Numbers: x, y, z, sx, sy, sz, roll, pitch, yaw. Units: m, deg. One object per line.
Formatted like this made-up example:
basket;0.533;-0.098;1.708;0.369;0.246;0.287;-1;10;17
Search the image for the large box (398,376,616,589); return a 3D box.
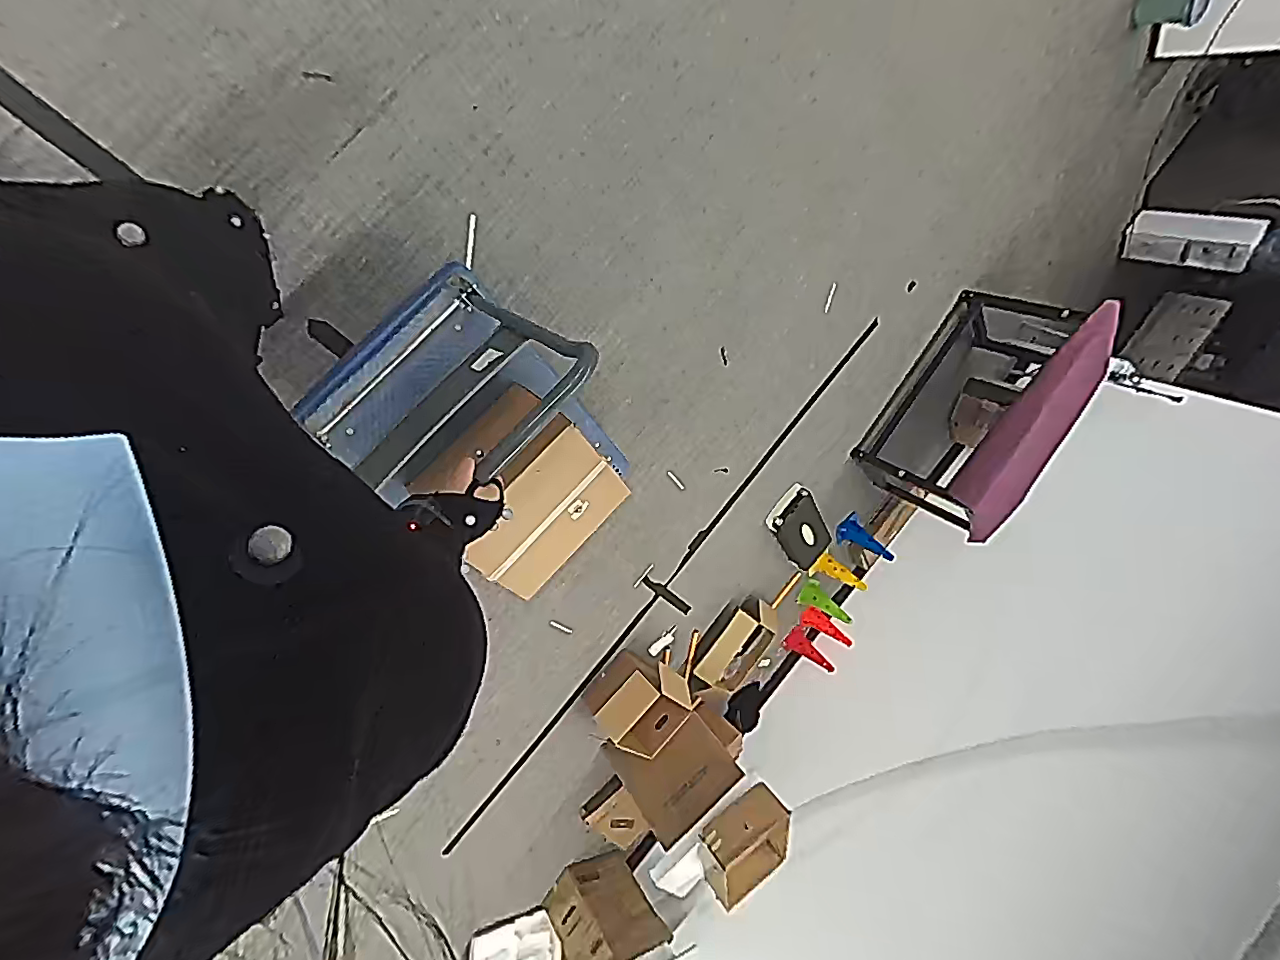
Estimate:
large box;-0.348;0.001;1.433;0.408;0.320;0.320;-47;138;-9
